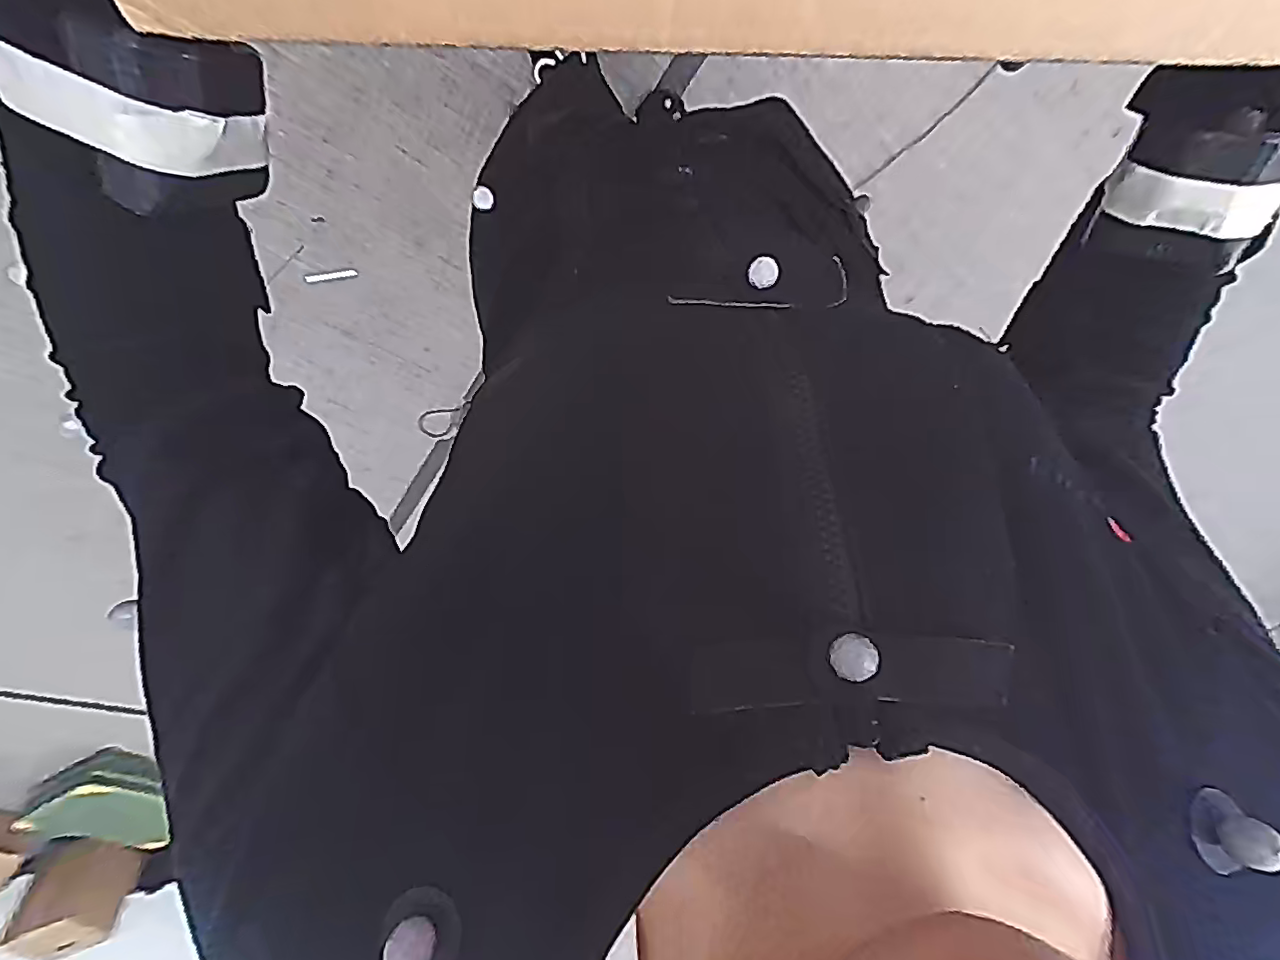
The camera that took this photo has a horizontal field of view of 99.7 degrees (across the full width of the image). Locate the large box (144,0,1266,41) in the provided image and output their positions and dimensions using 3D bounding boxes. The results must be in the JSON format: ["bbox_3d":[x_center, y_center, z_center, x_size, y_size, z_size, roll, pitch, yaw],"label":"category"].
[{"bbox_3d":[0.029,-0.370,0.161,0.408,0.320,0.320,-4,142,-6],"label":"large box"}]
